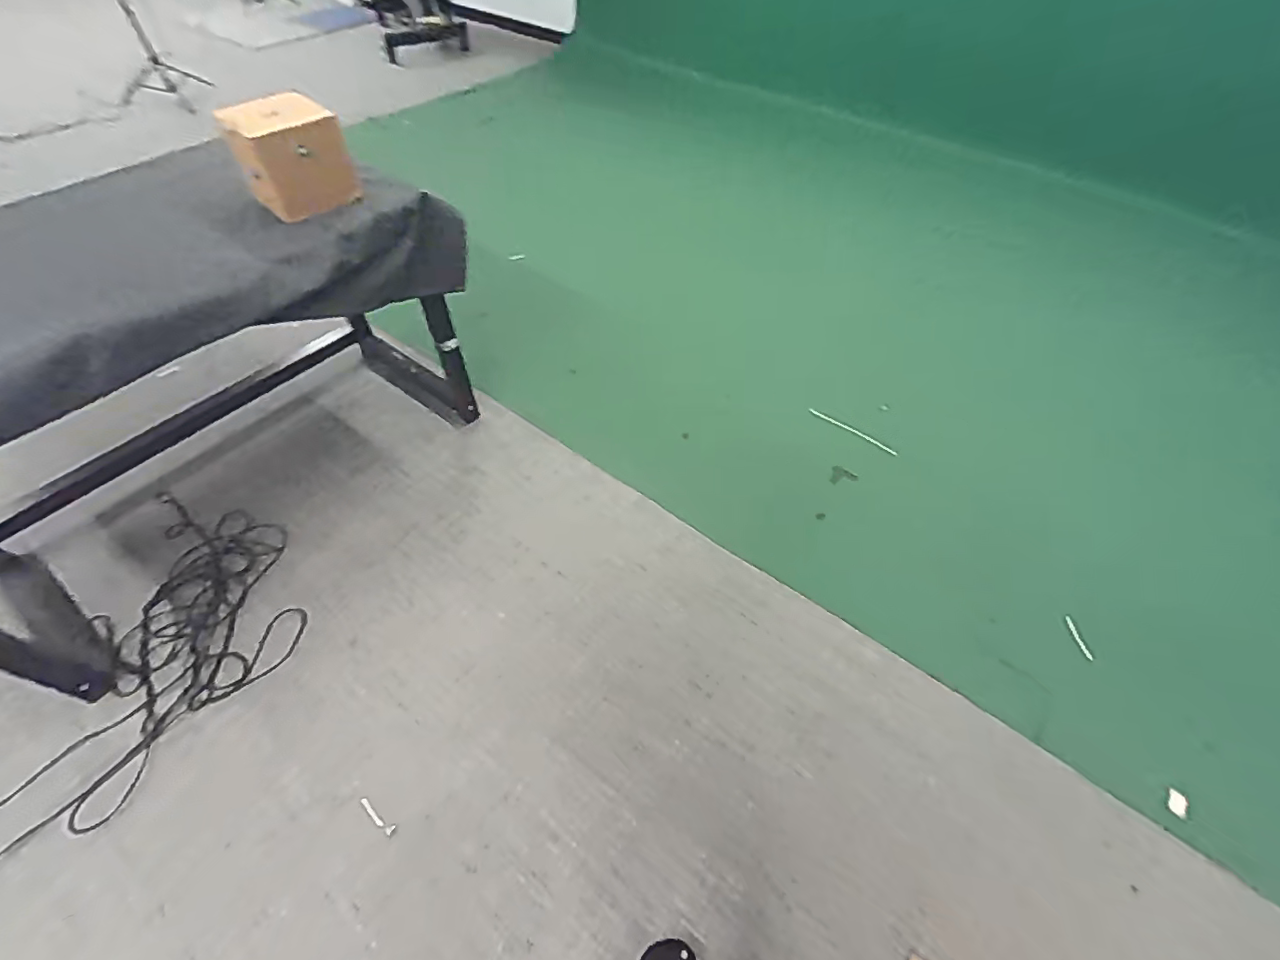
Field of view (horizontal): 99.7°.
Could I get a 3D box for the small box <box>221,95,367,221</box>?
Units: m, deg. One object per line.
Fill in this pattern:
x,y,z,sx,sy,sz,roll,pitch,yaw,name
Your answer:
-0.721,-0.678,1.143,0.168,0.176,0.179,38,60,23,small box
